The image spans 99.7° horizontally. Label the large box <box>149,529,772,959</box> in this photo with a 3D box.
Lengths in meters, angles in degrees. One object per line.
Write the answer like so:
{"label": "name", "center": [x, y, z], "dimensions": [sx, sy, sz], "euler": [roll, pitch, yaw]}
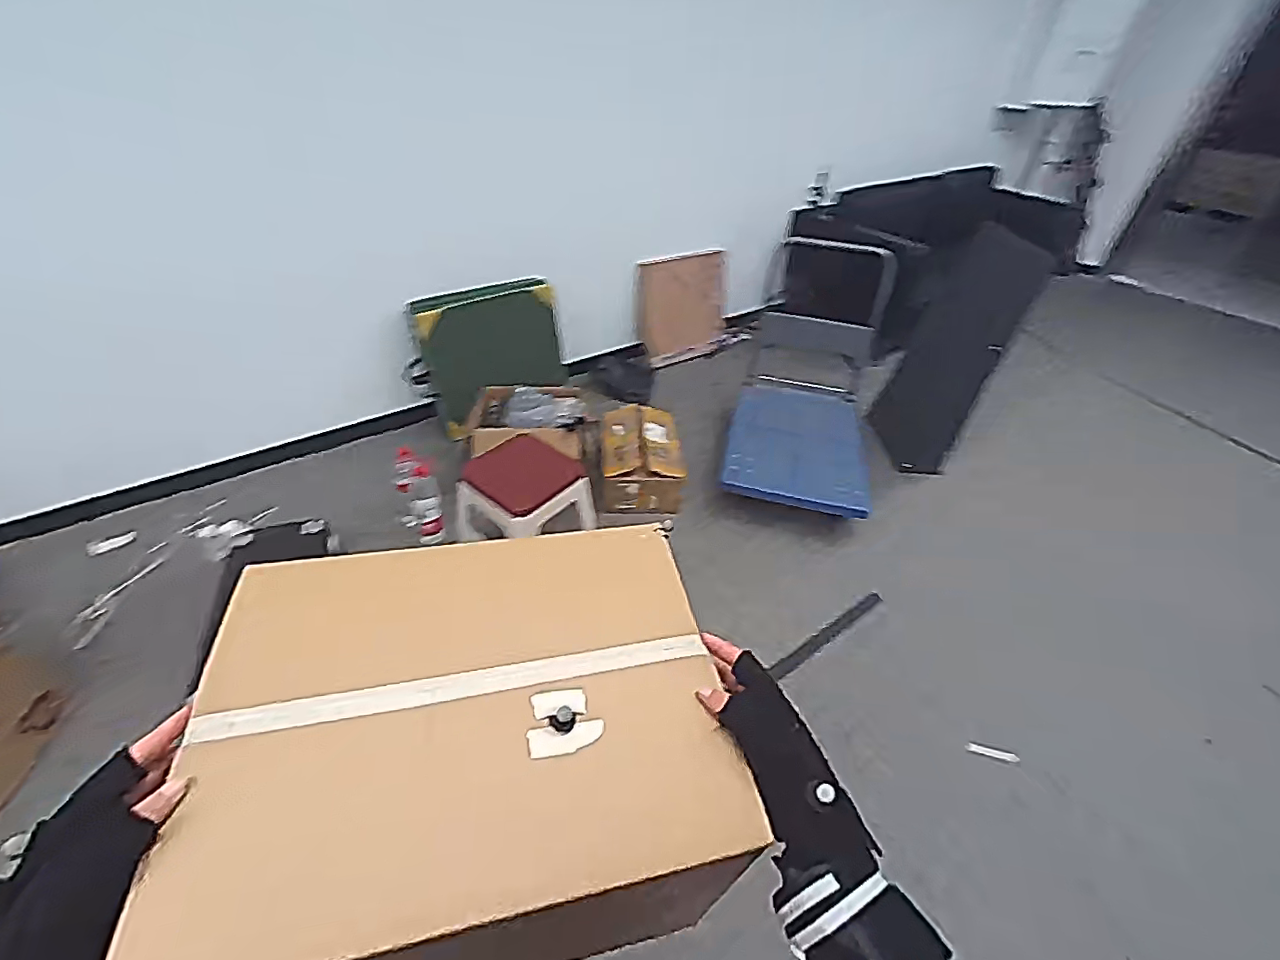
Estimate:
{"label": "large box", "center": [-0.143, 0.280, 0.555], "dimensions": [0.408, 0.320, 0.320], "euler": [-3, 44, -14]}
